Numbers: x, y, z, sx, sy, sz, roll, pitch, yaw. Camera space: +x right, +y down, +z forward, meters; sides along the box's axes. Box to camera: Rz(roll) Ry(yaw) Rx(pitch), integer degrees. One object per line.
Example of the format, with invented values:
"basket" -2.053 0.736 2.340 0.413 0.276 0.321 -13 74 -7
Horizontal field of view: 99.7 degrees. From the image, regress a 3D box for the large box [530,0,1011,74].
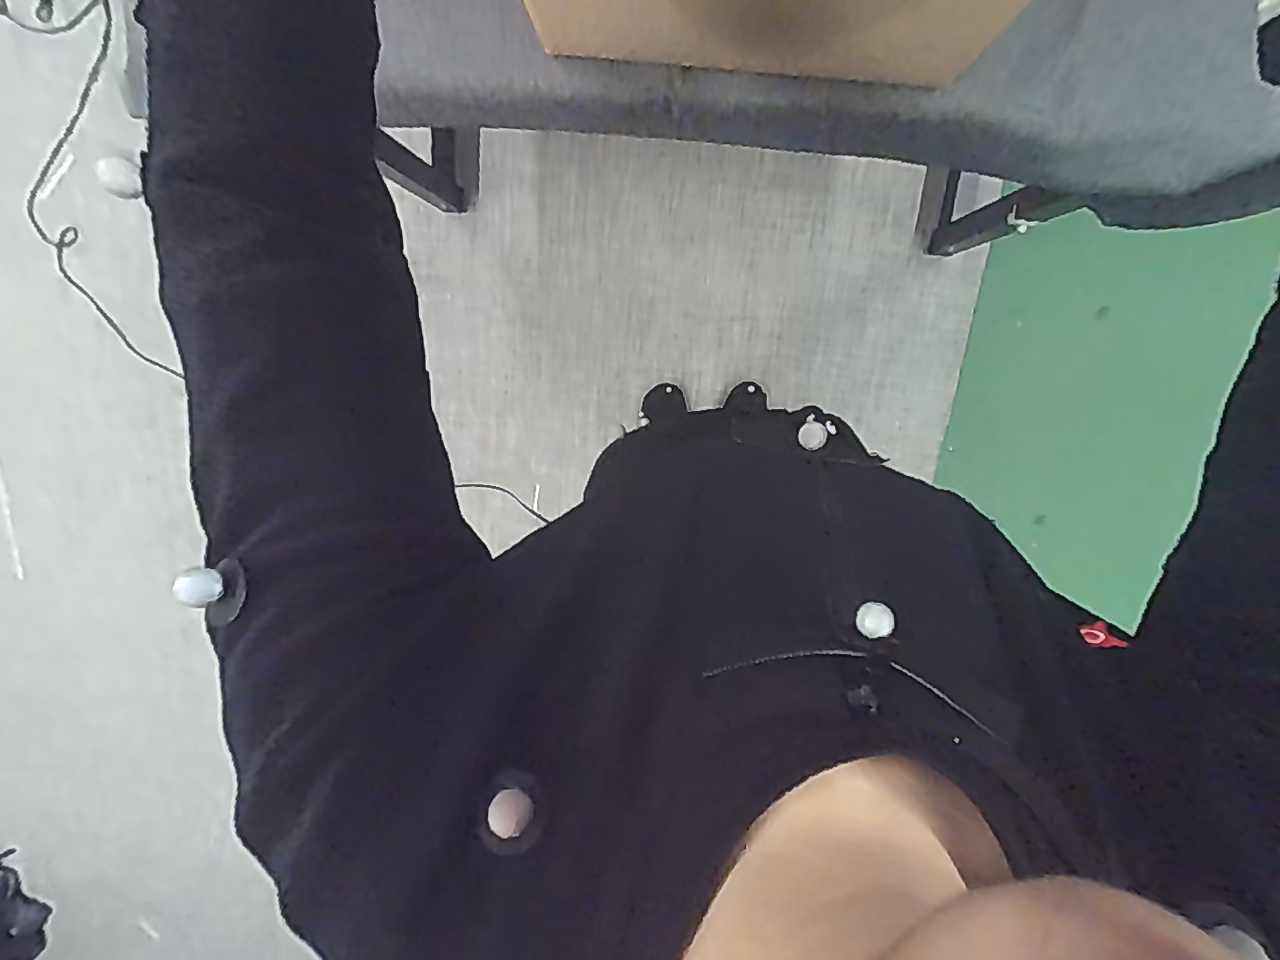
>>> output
"large box" 0.106 -0.530 0.362 0.408 0.320 0.320 6 102 2
